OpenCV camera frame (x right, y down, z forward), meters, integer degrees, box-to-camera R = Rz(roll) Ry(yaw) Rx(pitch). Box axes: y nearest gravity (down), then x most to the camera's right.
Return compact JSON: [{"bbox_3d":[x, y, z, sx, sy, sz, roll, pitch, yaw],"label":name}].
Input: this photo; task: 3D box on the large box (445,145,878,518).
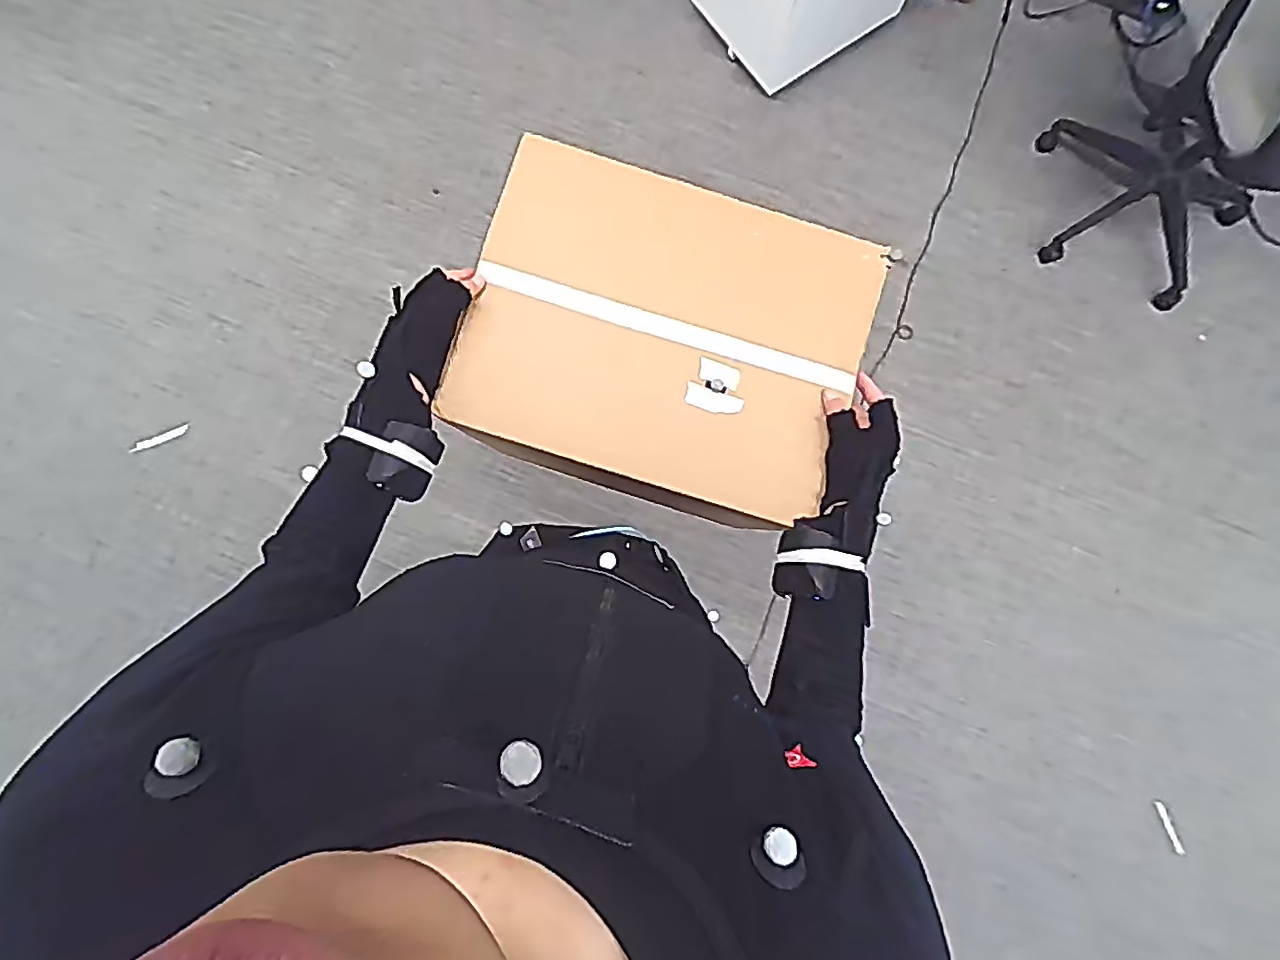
[{"bbox_3d":[0.020,-0.151,0.719,0.408,0.320,0.320,18,86,-1],"label":"large box"}]
